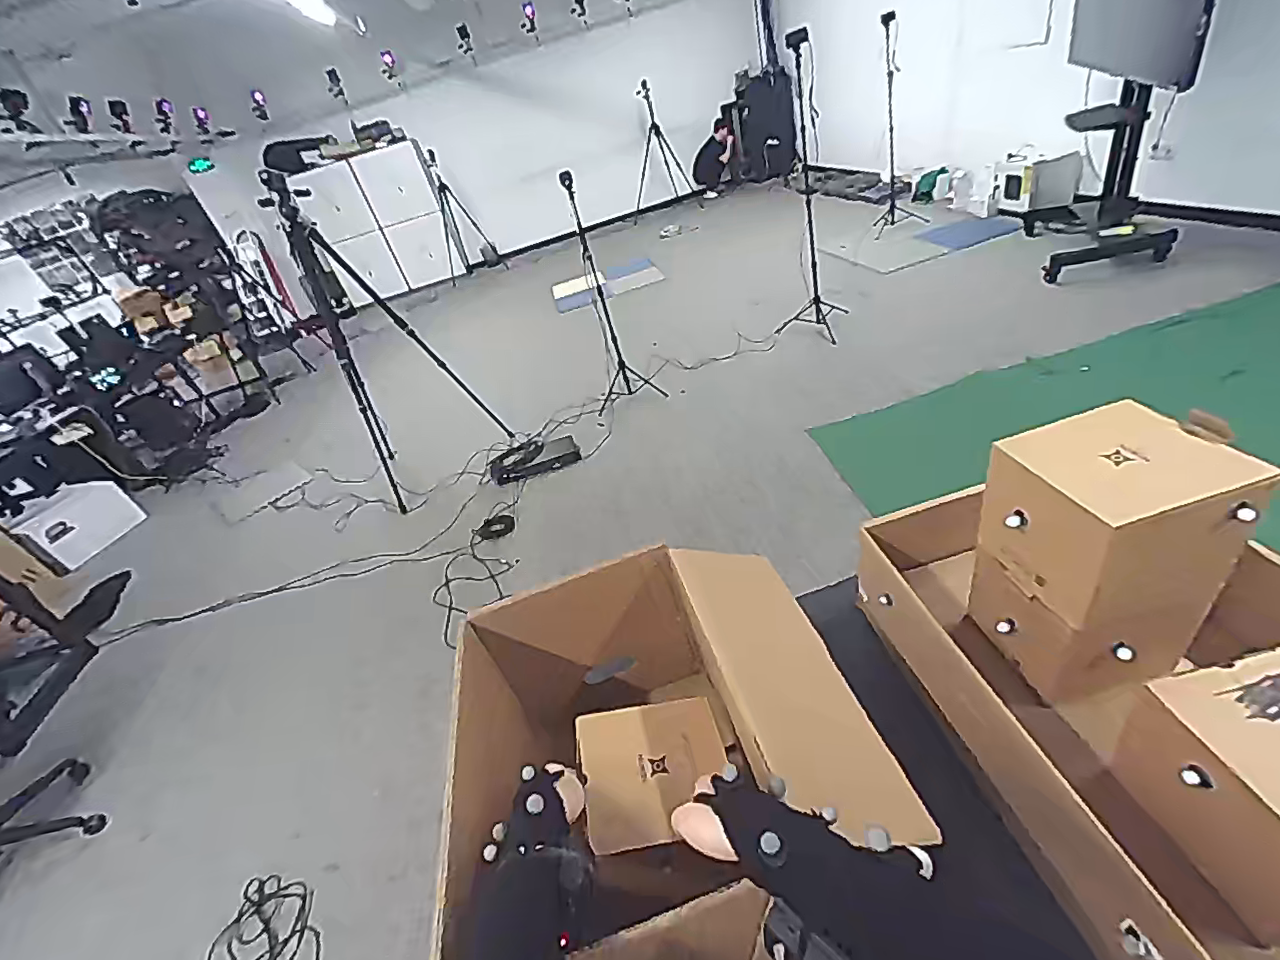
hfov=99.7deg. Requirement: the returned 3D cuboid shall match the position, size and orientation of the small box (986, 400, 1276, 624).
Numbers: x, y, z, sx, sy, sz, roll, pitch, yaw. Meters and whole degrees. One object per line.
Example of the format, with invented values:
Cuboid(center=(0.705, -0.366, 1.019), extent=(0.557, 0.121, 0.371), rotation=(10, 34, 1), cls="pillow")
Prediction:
Cuboid(center=(0.534, 0.038, 0.625), extent=(0.179, 0.176, 0.168), rotation=(-18, 36, 0), cls="small box")
